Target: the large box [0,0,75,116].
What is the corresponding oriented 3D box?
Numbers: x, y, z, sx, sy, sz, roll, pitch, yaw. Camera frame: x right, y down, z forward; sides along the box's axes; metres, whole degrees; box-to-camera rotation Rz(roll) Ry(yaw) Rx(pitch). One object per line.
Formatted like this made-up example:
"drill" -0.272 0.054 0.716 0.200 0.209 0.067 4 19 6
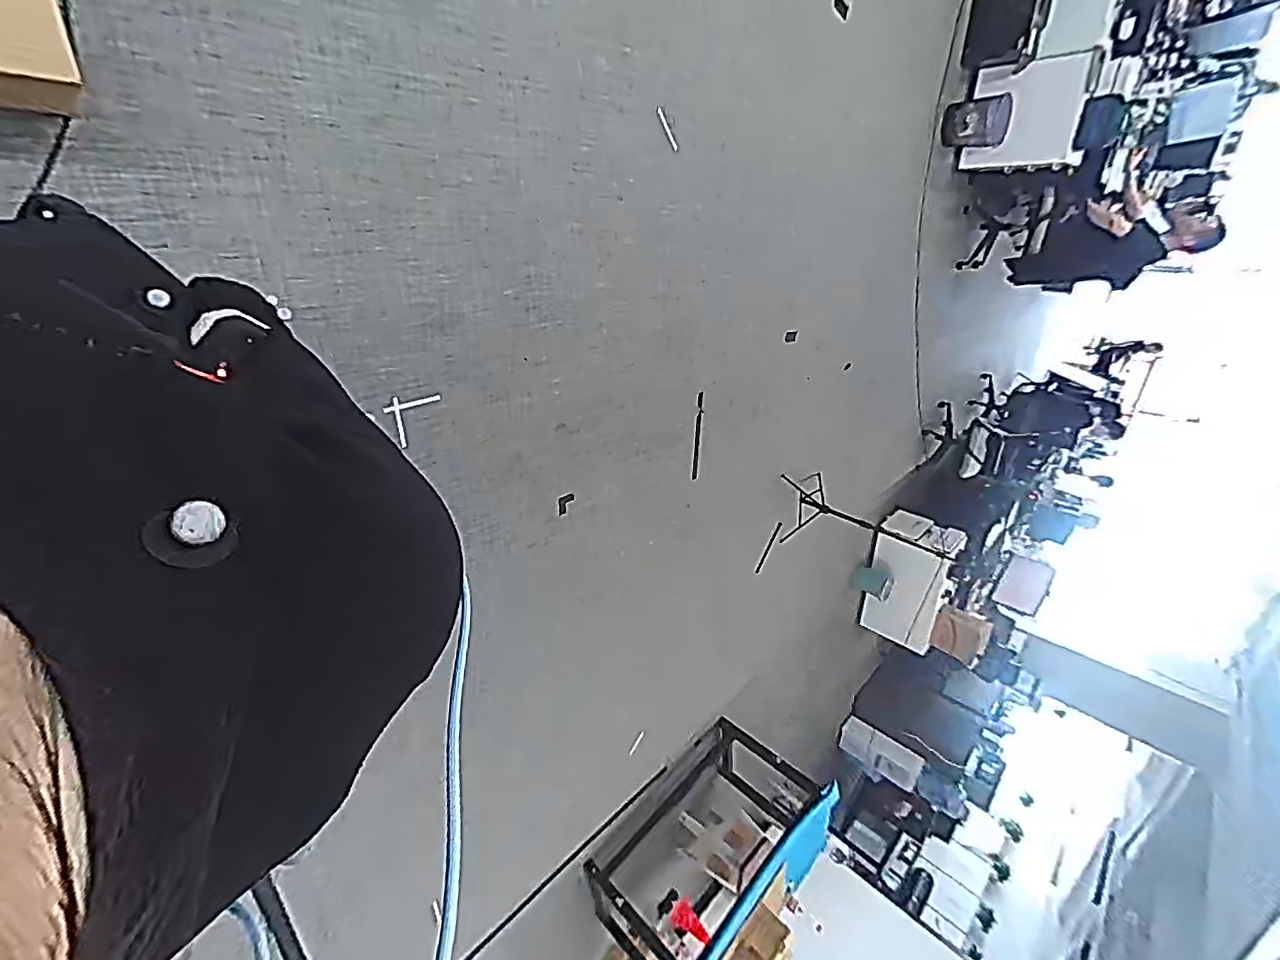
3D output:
"large box" -0.958 -0.628 0.590 0.408 0.320 0.320 -21 123 -41
